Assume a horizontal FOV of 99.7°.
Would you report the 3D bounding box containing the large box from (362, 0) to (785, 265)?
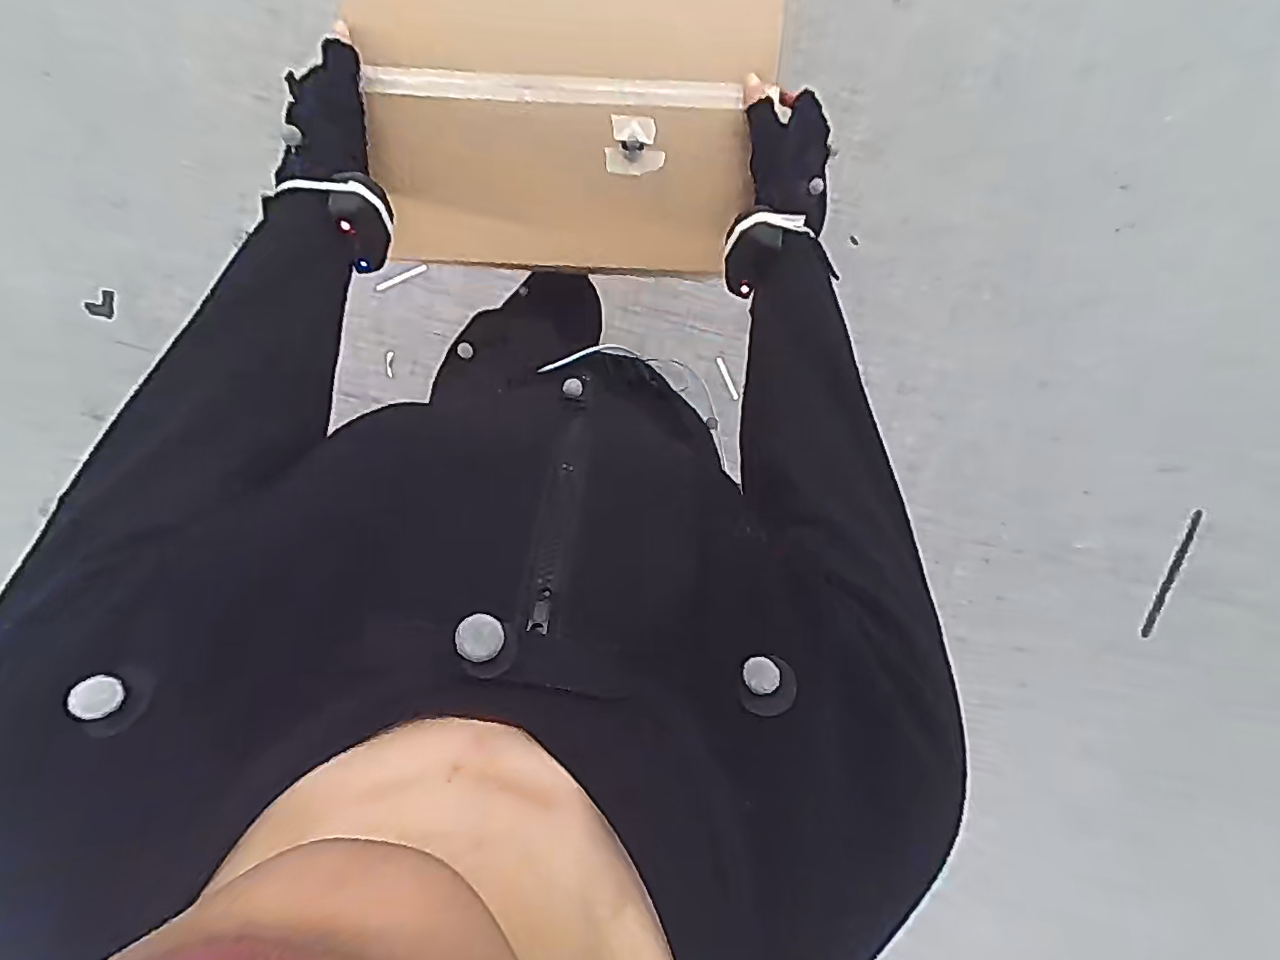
[{"bbox_3d":[-0.068,-0.438,0.668,0.408,0.320,0.320,1,112,-2],"label":"large box"}]
